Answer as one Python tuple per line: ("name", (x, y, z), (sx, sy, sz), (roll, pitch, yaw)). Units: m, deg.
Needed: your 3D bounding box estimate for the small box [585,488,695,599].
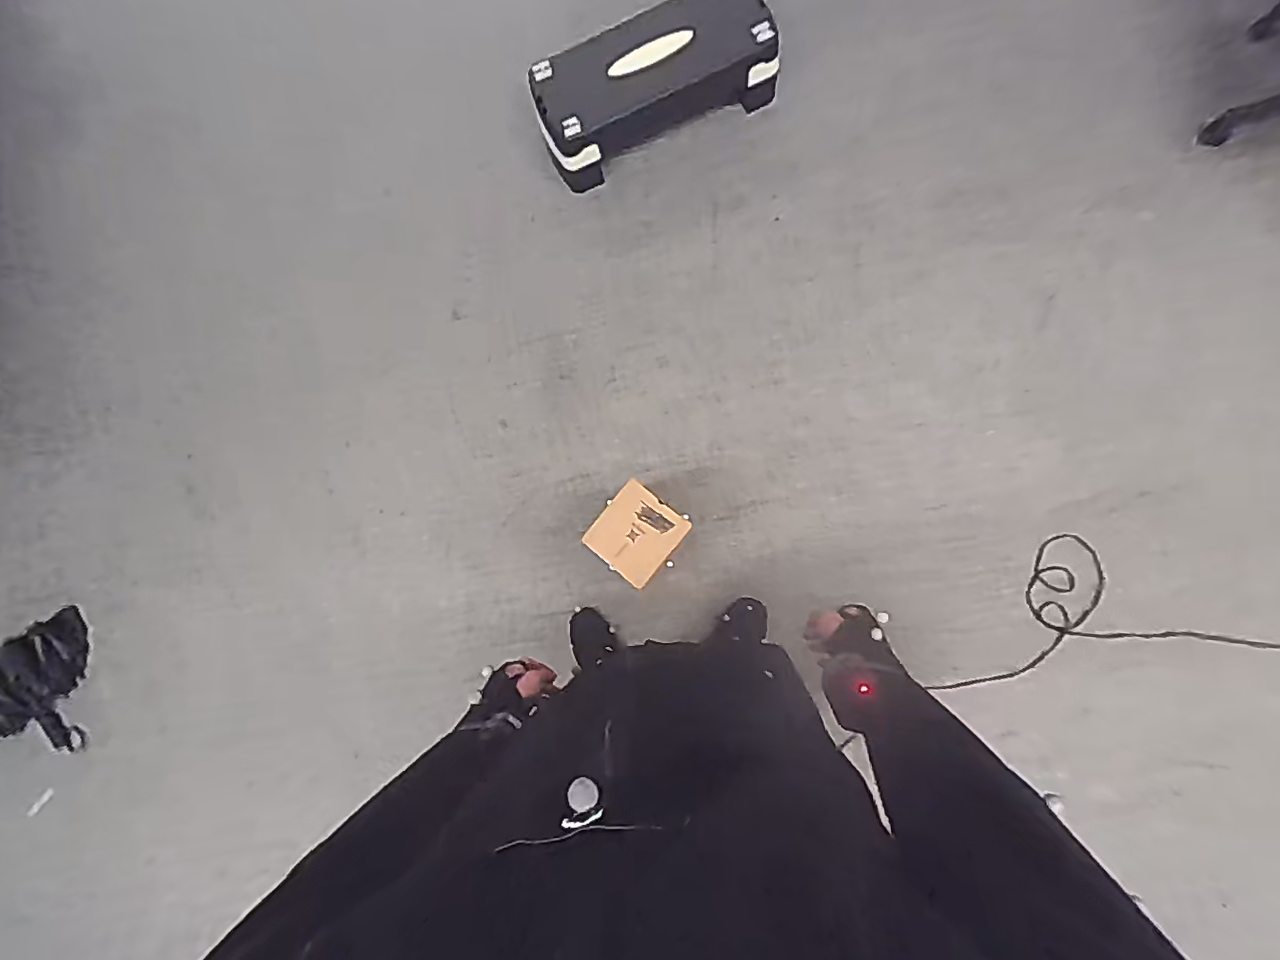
("small box", (0.005, 0.142, 1.204), (0.168, 0.176, 0.179), (39, 87, 11))
